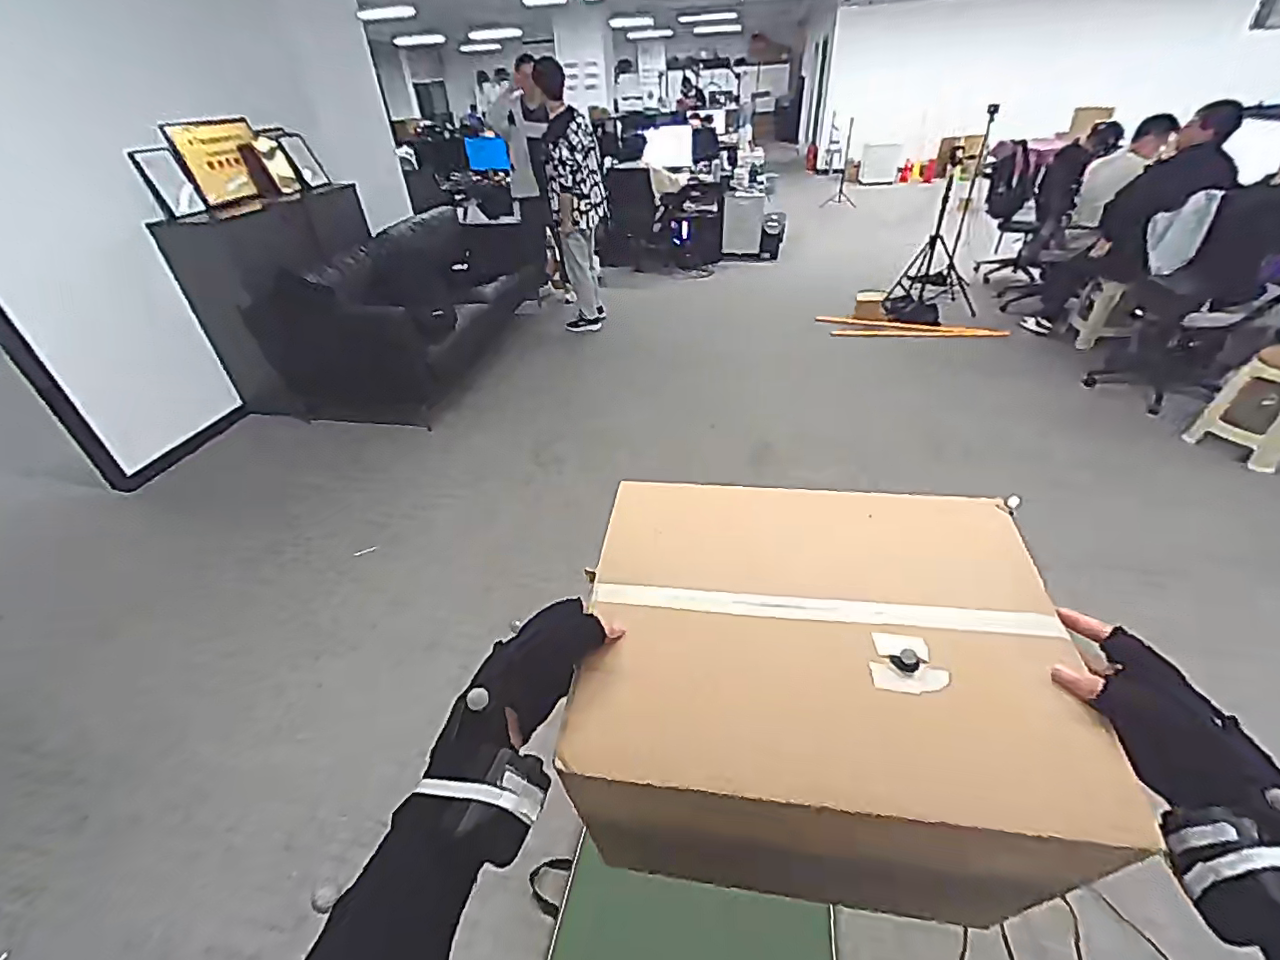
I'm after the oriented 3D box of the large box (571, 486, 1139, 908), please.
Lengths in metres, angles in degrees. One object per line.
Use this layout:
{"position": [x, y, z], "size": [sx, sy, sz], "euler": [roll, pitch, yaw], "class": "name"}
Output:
{"position": [0.166, 0.226, 0.594], "size": [0.408, 0.320, 0.320], "euler": [3, 44, 8], "class": "large box"}
